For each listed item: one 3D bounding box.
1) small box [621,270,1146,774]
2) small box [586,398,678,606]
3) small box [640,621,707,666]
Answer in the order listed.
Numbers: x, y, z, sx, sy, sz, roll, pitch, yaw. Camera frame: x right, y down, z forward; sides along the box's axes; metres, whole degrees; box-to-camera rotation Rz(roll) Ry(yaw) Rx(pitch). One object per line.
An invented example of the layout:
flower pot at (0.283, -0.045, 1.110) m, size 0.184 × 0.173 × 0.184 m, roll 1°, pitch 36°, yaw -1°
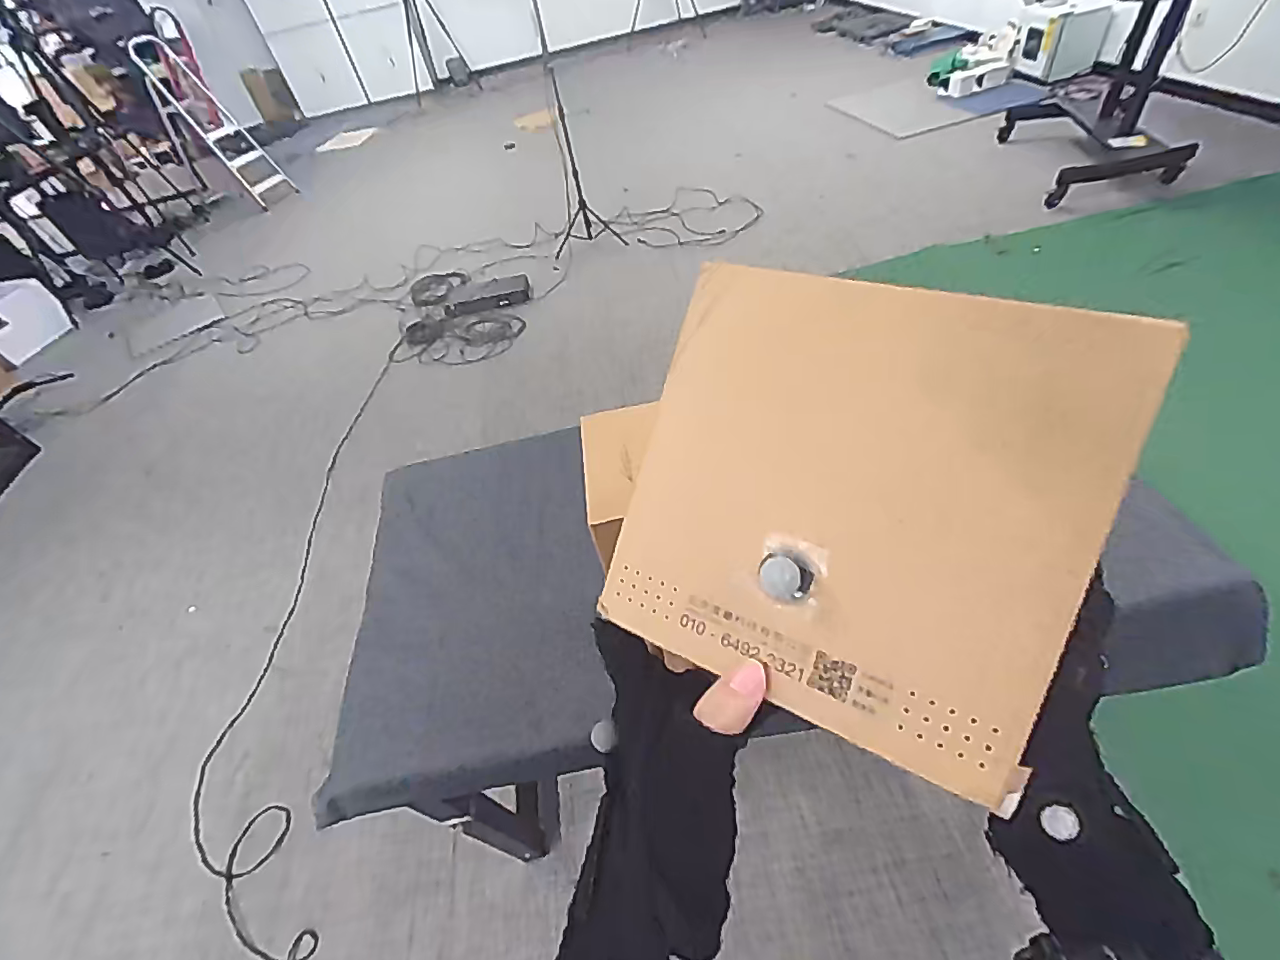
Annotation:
small box at (0.110, 0.011, 0.292) m, size 0.168 × 0.179 × 0.176 m, roll 20°, pitch 98°, yaw 27°
small box at (0.044, 0.025, 0.617) m, size 0.179 × 0.176 × 0.168 m, roll -12°, pitch 44°, yaw 2°
small box at (0.082, 0.134, 0.733) m, size 0.179 × 0.176 × 0.168 m, roll -10°, pitch 46°, yaw 3°
